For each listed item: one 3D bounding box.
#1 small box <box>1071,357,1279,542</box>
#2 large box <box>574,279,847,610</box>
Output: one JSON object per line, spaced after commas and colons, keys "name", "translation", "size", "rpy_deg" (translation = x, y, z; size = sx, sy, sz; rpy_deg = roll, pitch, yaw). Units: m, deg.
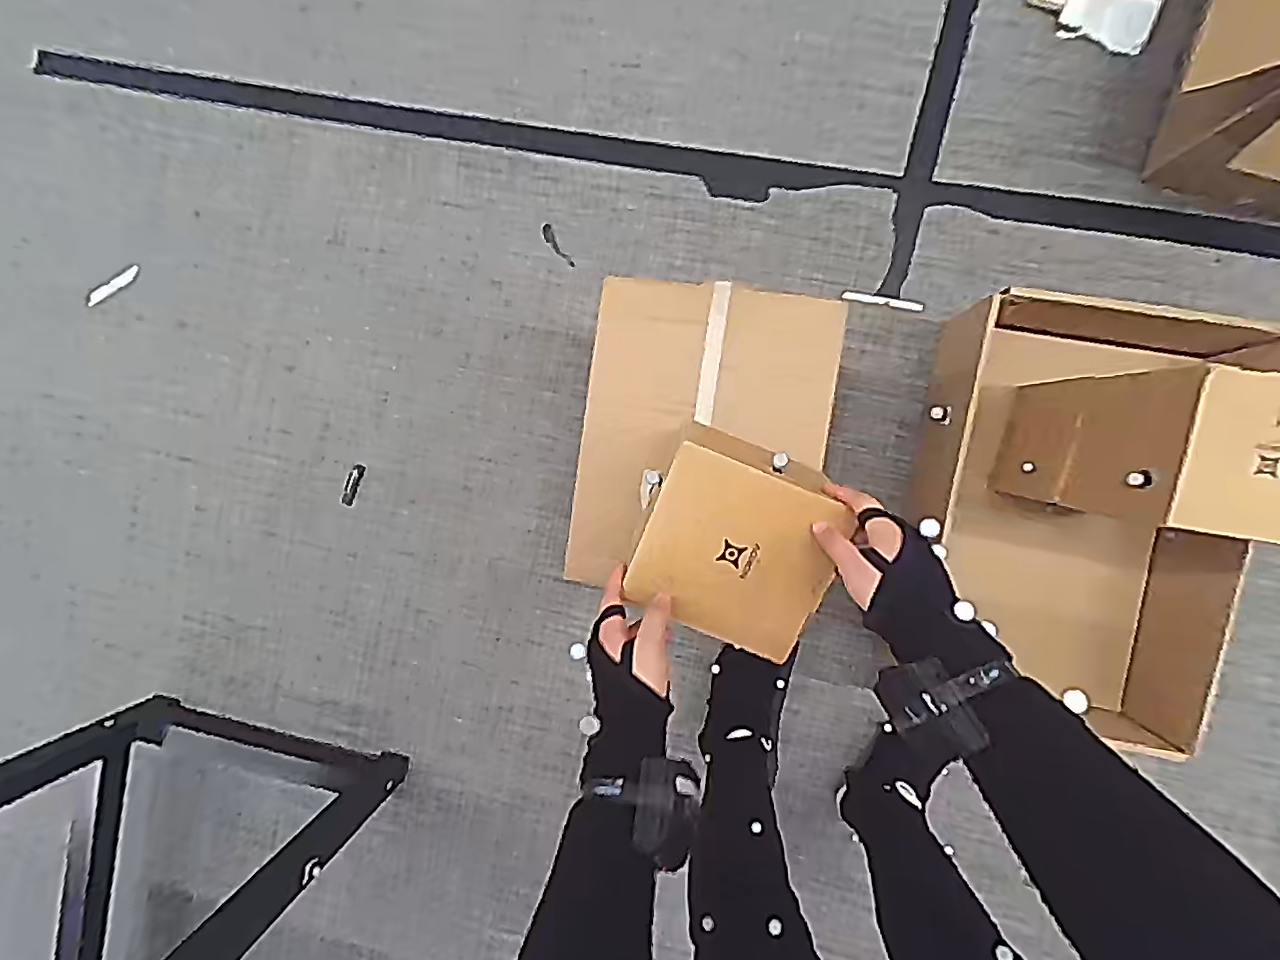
{"name": "small box", "translation": [0.657, -0.034, 0.634], "size": [0.168, 0.176, 0.179], "rpy_deg": [10, 96, 4]}
{"name": "large box", "translation": [0.099, -0.057, 0.841], "size": [0.320, 0.320, 0.408], "rpy_deg": [8, 95, 7]}
